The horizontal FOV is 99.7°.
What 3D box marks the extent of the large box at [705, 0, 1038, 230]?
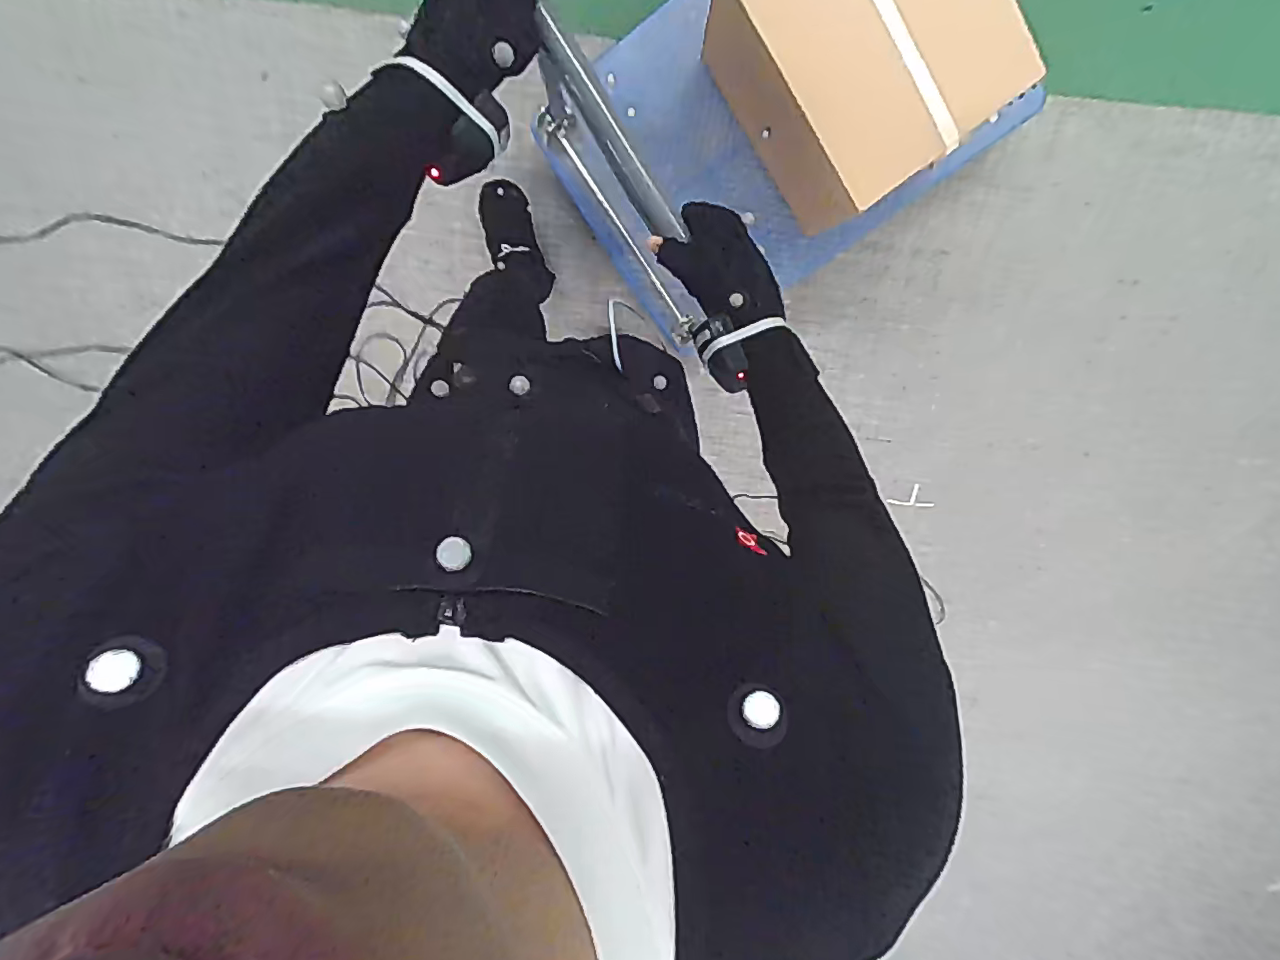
[{"bbox_3d":[0.357,-0.714,0.926,0.320,0.320,0.408,-35,103,11],"label":"large box"}]
